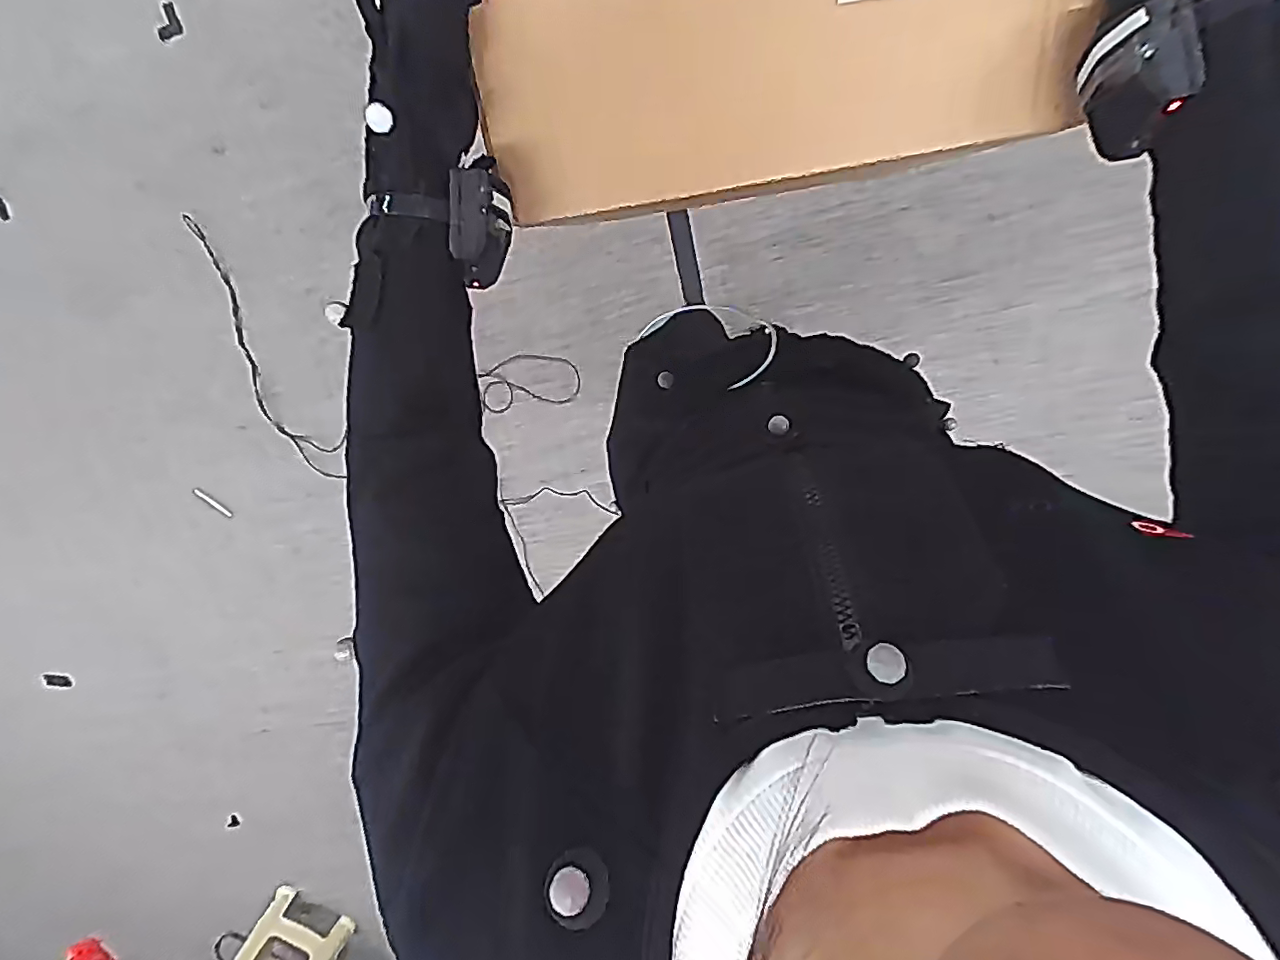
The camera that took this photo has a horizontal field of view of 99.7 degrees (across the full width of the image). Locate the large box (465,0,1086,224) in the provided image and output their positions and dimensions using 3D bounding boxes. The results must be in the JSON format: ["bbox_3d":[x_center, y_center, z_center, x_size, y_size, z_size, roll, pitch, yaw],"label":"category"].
[{"bbox_3d":[0.080,-0.425,0.465,0.408,0.320,0.320,-8,115,6],"label":"large box"}]
